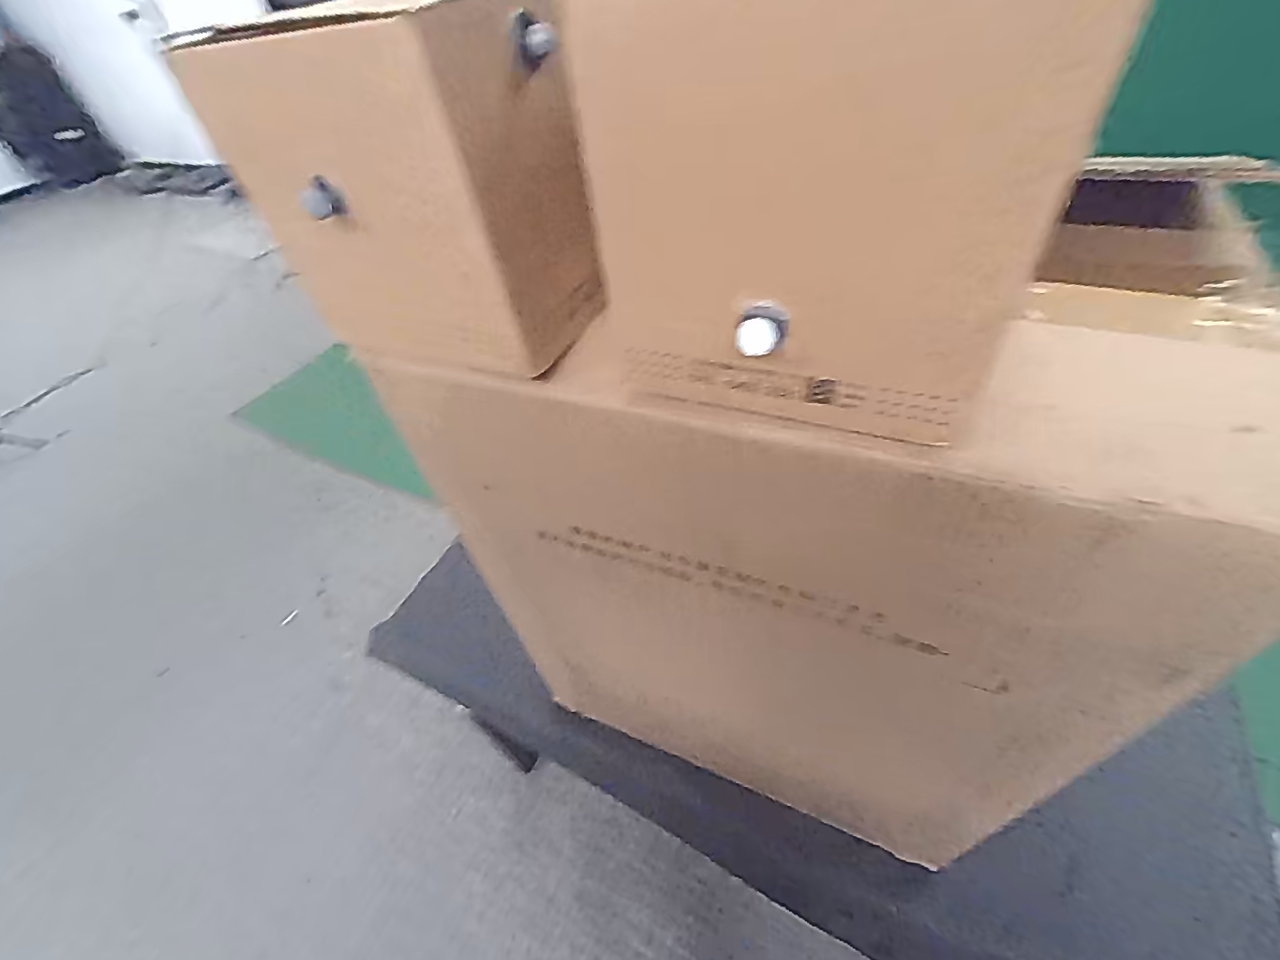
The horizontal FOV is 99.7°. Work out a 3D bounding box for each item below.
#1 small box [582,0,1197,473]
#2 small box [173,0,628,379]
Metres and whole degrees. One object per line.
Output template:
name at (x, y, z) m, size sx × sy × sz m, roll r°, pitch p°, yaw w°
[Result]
small box at (0.095, -0.134, 0.254) m, size 0.168 × 0.176 × 0.179 m, roll 16°, pitch 53°, yaw 21°
small box at (-0.106, -0.182, 0.331) m, size 0.179 × 0.176 × 0.168 m, roll 16°, pitch 52°, yaw 23°
